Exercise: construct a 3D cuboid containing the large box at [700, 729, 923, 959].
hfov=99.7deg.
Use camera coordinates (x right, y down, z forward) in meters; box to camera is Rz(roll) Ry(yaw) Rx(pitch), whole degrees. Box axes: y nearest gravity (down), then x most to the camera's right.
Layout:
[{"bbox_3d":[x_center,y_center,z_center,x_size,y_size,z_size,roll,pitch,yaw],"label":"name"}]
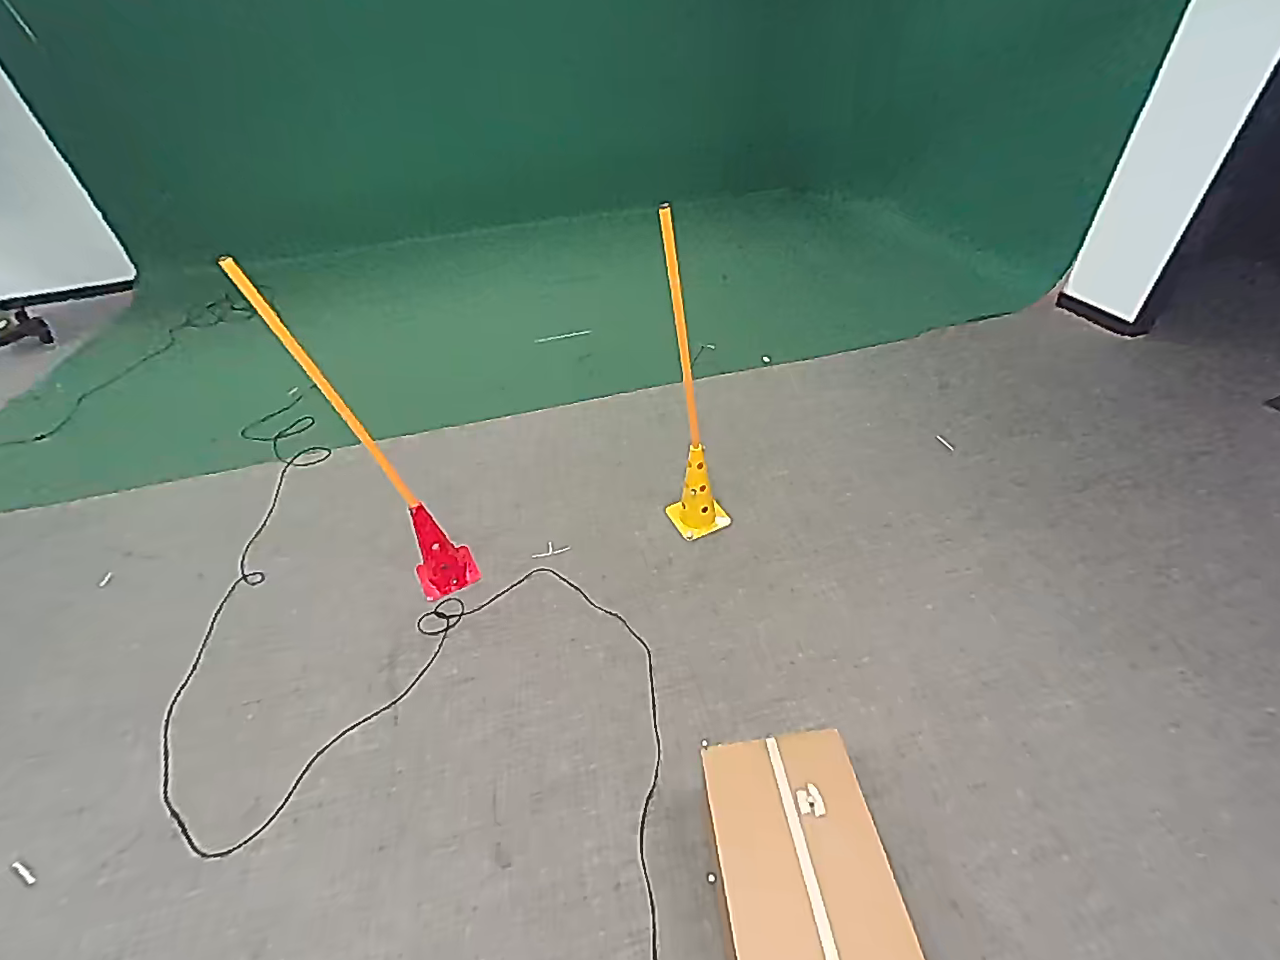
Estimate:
[{"bbox_3d":[0.319,0.813,1.144,0.320,0.320,0.408,-7,40,-1],"label":"large box"}]
